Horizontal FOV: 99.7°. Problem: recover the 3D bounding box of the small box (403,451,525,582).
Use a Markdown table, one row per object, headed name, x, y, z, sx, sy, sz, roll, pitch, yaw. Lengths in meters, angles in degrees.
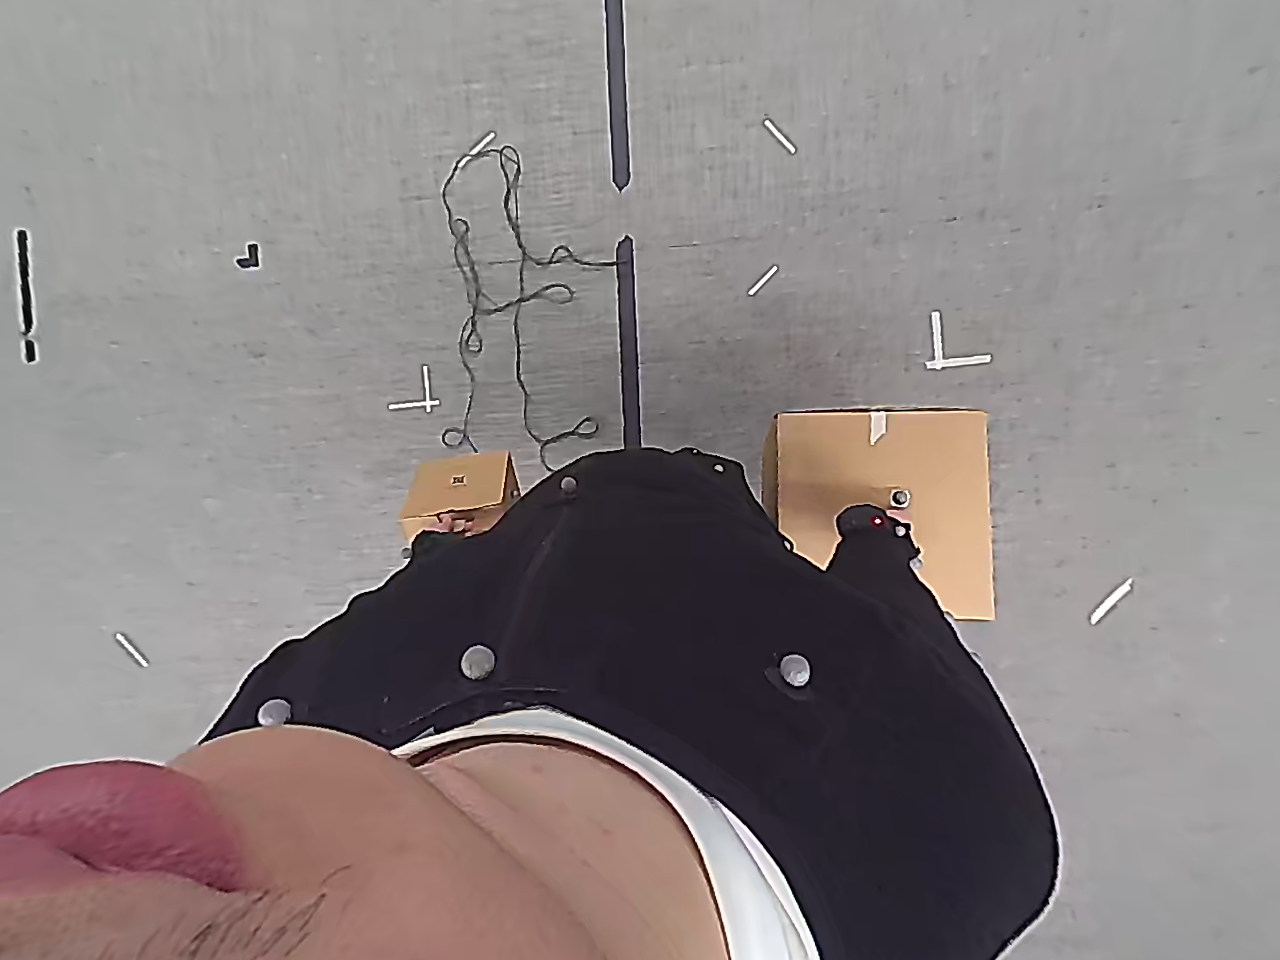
| name | x | y | z | sx | sy | sz | roll | pitch | yaw |
| --- | --- | --- | --- | --- | --- | --- | --- | --- | --- |
| small box | -0.310 | 0.071 | 0.992 | 0.168 | 0.179 | 0.176 | -8 | 125 | -4 |
